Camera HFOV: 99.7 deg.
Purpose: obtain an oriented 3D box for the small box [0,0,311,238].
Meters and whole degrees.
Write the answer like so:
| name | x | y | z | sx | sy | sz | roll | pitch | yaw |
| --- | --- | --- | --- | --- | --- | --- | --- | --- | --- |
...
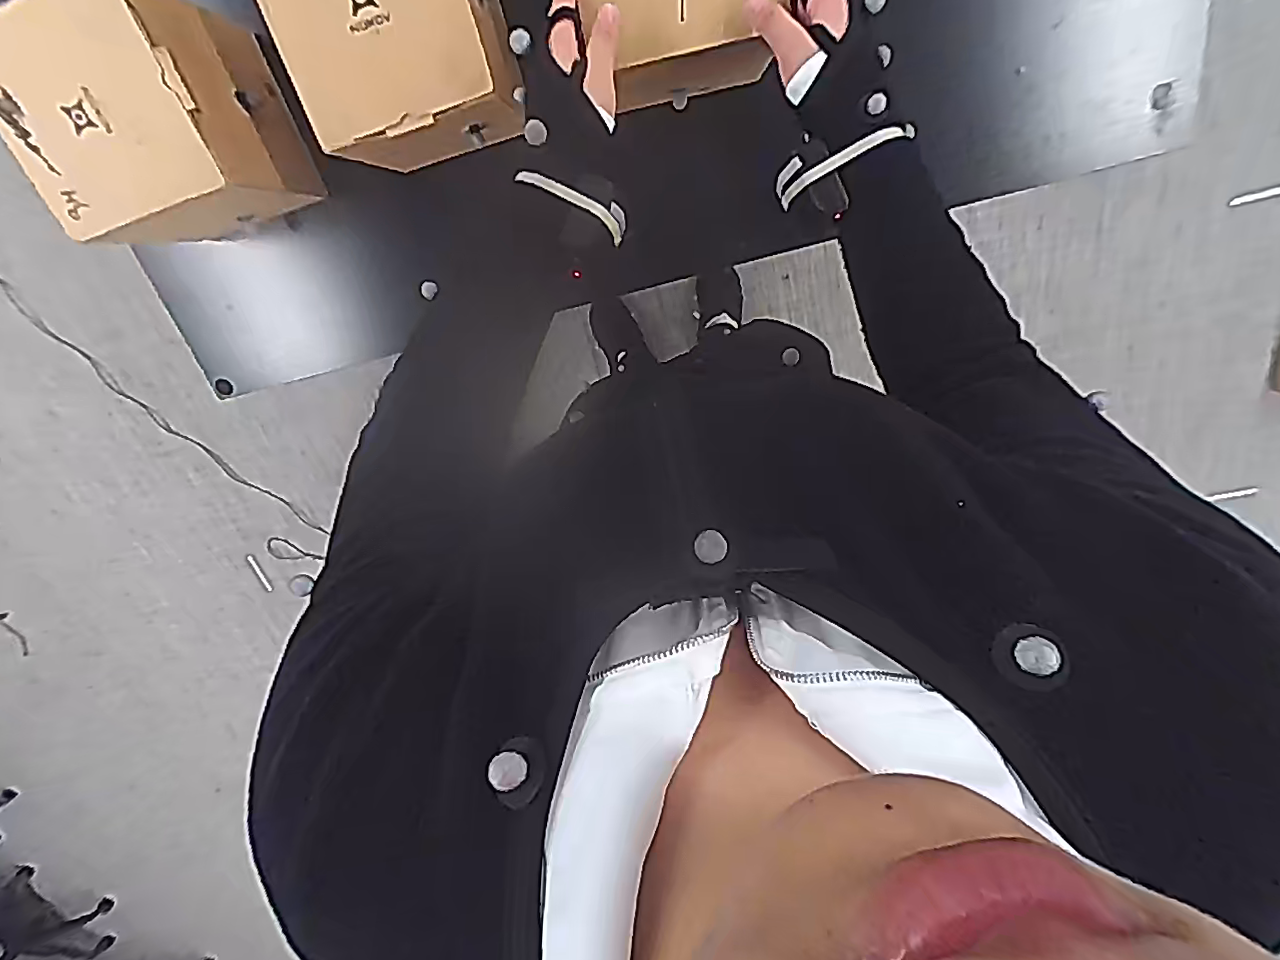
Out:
| name | x | y | z | sx | sy | sz | roll | pitch | yaw |
| --- | --- | --- | --- | --- | --- | --- | --- | --- | --- |
| small box | -0.468 | -0.352 | 0.536 | 0.179 | 0.176 | 0.168 | -15 | 113 | 7 |

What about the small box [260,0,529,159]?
| name | x | y | z | sx | sy | sz | roll | pitch | yaw |
| --- | --- | --- | --- | --- | --- | --- | --- | --- | --- |
| small box | -0.217 | -0.417 | 0.501 | 0.168 | 0.176 | 0.179 | -14 | 113 | 7 |

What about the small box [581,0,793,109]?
| name | x | y | z | sx | sy | sz | roll | pitch | yaw |
| --- | --- | --- | --- | --- | --- | --- | --- | --- | --- |
| small box | 0.028 | -0.457 | 0.473 | 0.168 | 0.176 | 0.179 | -9 | 115 | 5 |
